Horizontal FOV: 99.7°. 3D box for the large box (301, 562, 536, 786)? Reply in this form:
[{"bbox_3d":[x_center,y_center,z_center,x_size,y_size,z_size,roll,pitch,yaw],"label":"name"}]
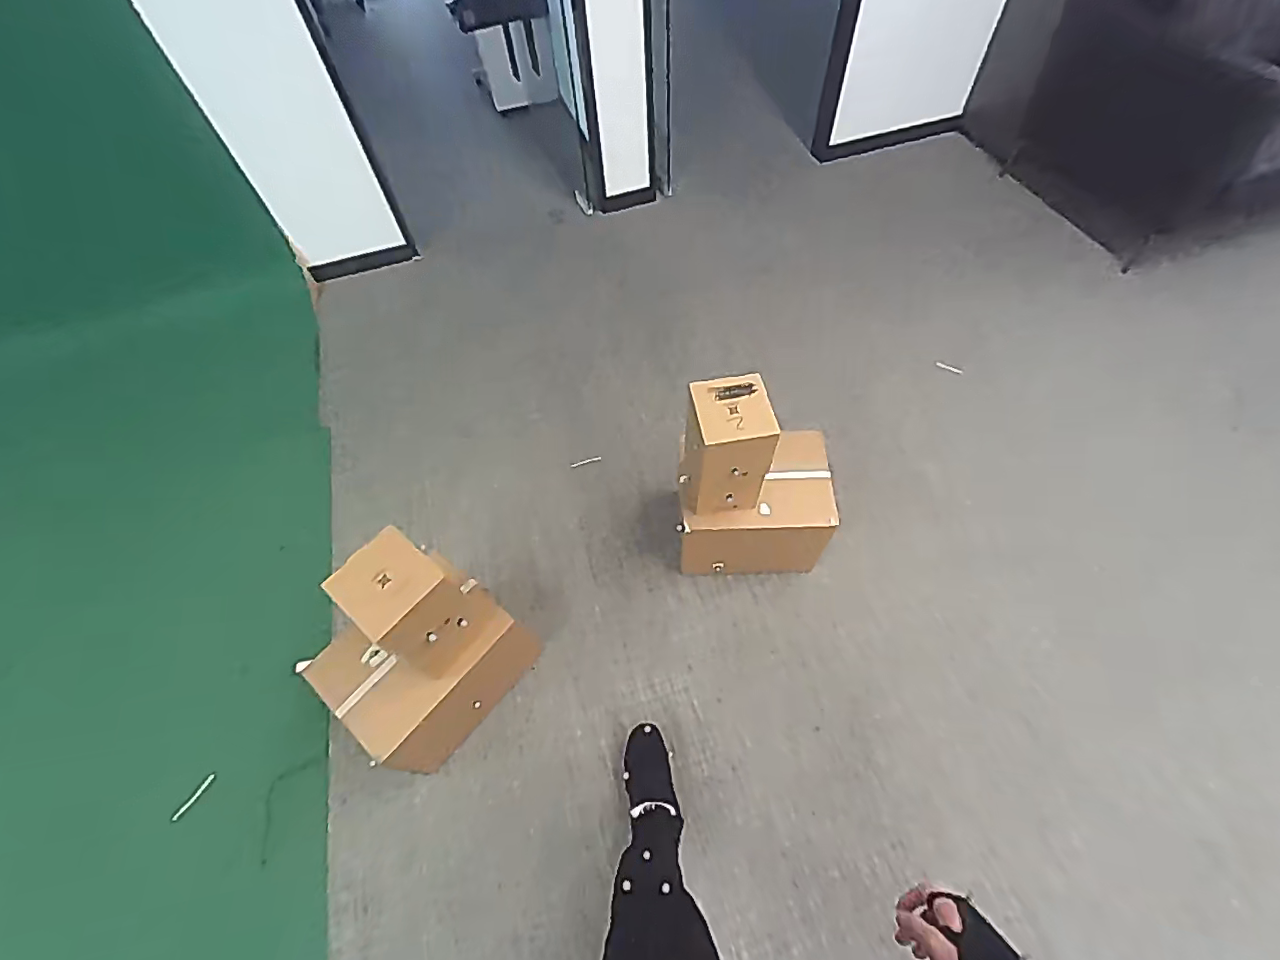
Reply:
[{"bbox_3d":[-0.536,0.497,1.390,0.320,0.320,0.408,33,65,23],"label":"large box"}]

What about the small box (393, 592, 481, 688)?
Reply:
[{"bbox_3d":[-0.477,0.329,1.202,0.168,0.176,0.179,33,64,22],"label":"small box"}]

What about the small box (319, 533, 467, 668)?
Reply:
[{"bbox_3d":[-0.477,0.242,1.064,0.179,0.176,0.168,35,66,22],"label":"small box"}]

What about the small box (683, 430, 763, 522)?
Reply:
[{"bbox_3d":[0.206,-0.003,1.388,0.168,0.176,0.179,-7,58,-2],"label":"small box"}]
